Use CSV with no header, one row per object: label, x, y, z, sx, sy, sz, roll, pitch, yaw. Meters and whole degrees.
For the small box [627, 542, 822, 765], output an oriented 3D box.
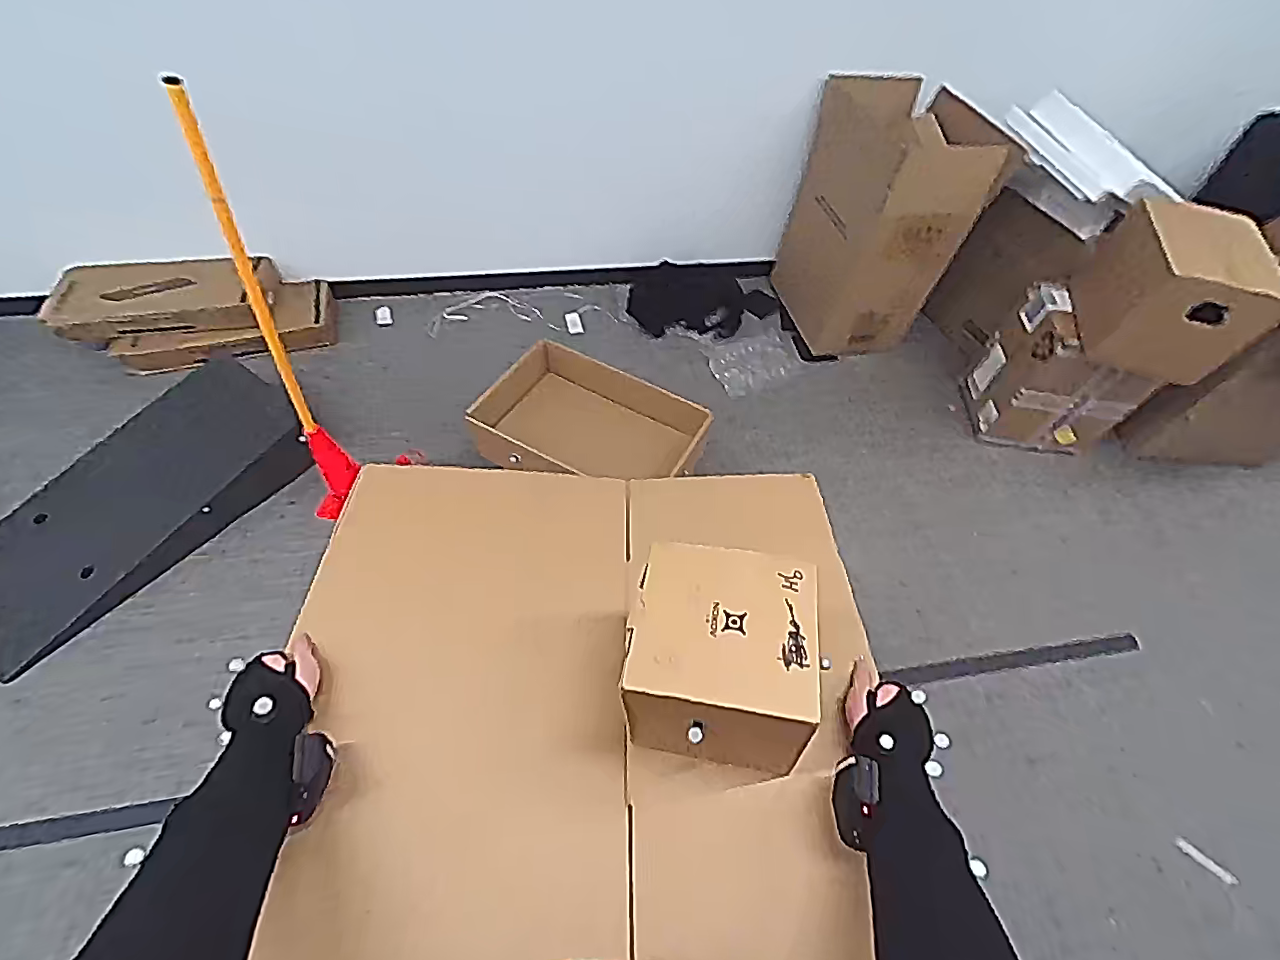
small box,0.093,0.189,0.586,0.179,0.176,0.168,6,49,10
